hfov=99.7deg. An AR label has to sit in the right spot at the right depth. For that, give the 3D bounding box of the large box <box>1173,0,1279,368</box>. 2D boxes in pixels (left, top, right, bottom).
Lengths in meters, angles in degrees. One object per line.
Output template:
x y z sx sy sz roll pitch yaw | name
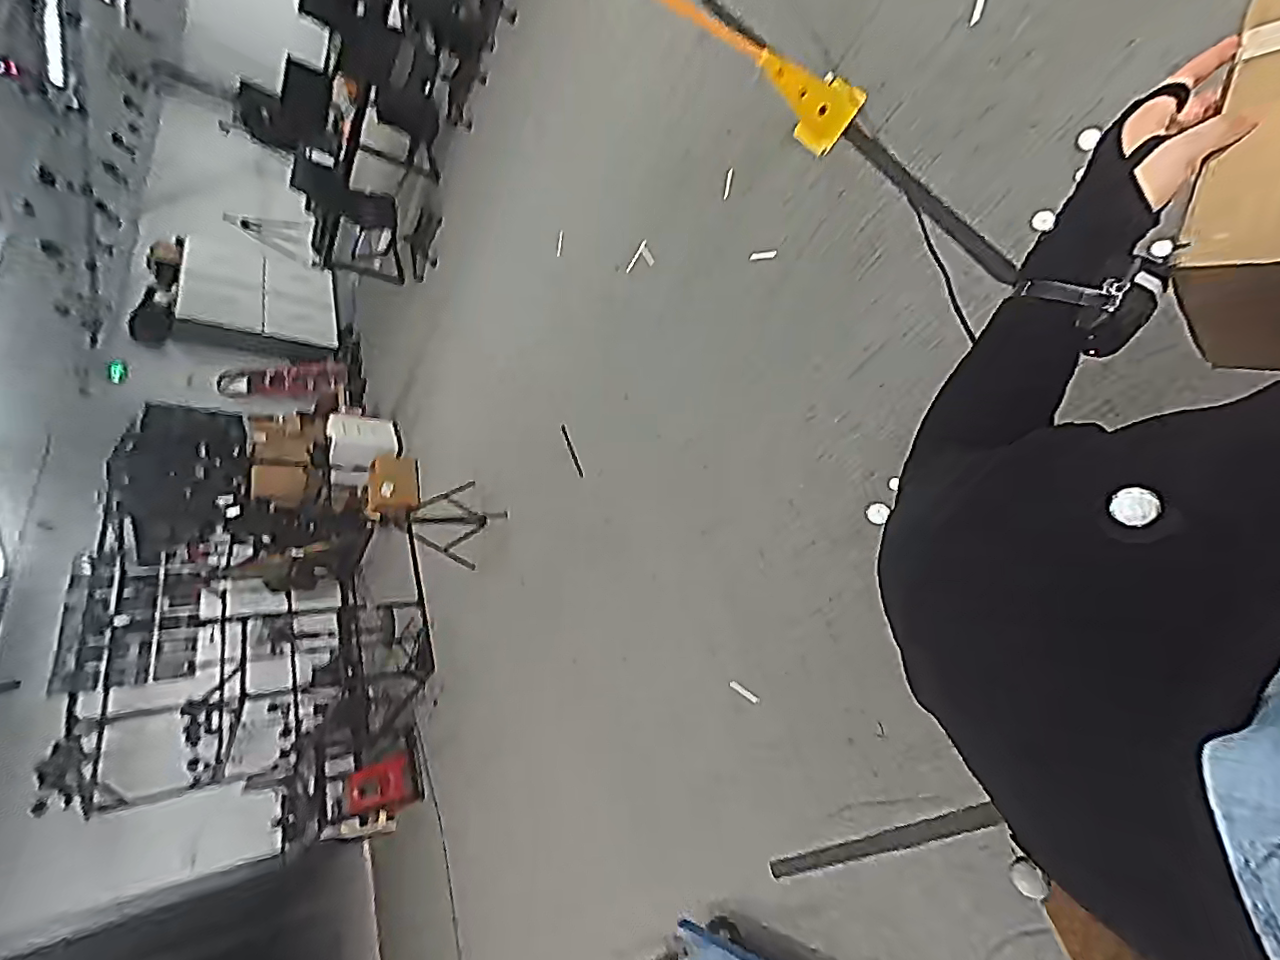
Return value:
0.673 -0.250 0.337 0.408 0.320 0.320 19 97 51 | large box
